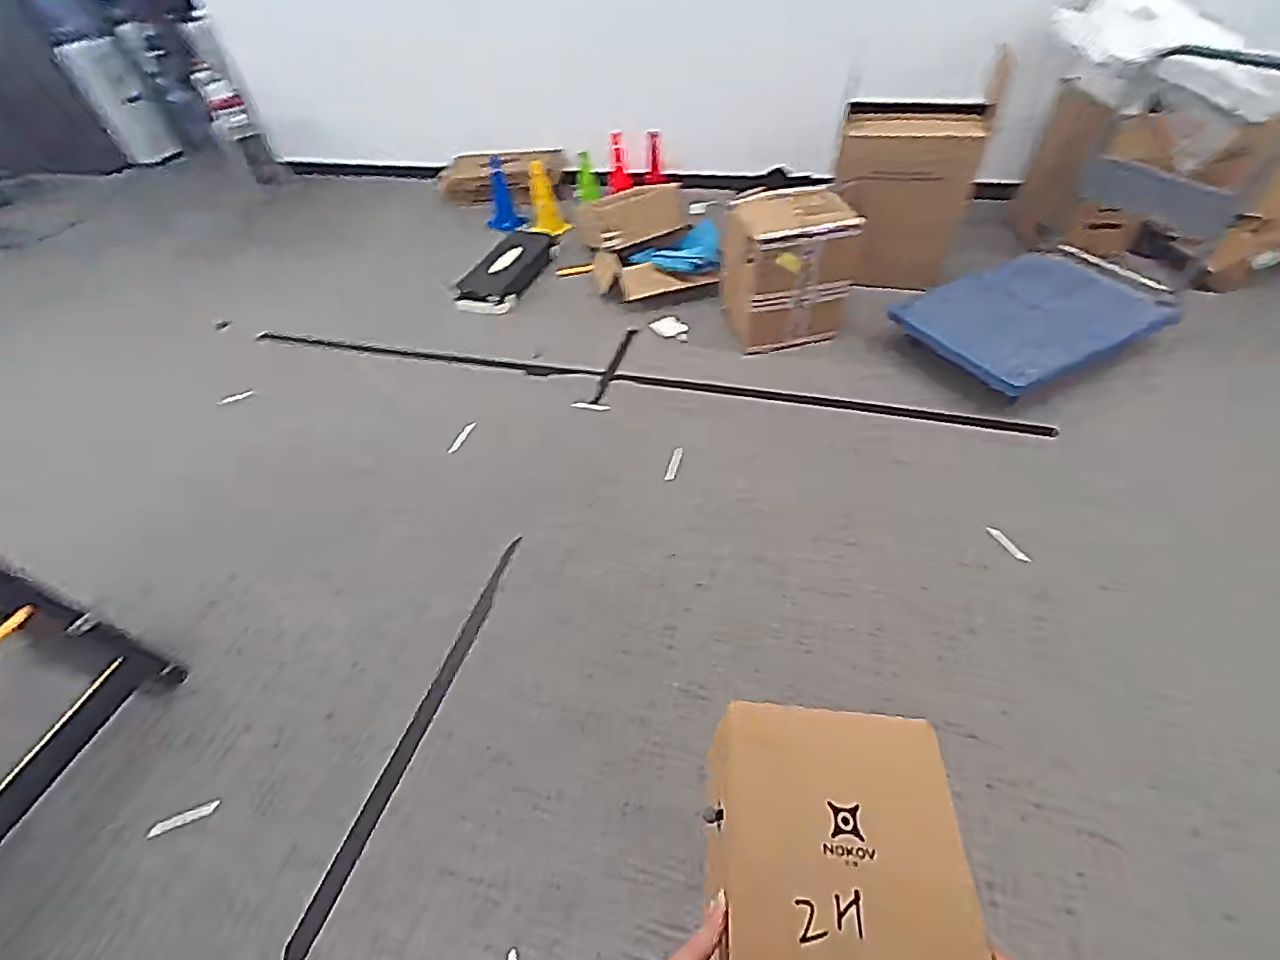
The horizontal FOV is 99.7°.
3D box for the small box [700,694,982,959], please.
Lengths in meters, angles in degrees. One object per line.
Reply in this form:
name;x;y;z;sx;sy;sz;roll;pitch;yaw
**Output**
small box;0.138;0.300;0.447;0.168;0.176;0.179;3;49;3
